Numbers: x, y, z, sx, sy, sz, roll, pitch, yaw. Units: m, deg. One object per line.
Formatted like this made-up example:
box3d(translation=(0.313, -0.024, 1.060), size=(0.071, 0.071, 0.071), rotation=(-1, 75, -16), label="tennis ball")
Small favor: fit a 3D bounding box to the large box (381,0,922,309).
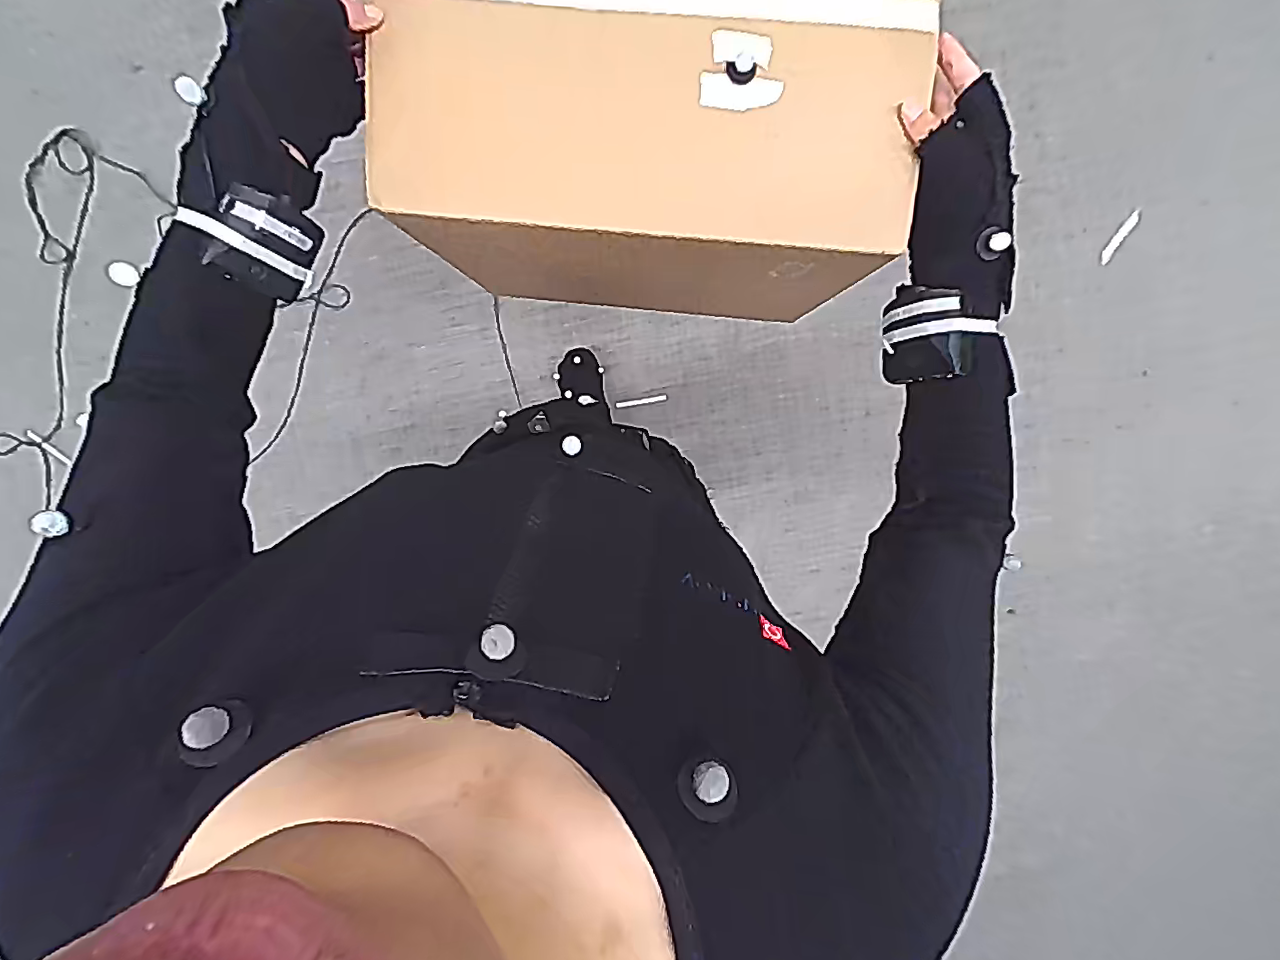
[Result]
box3d(translation=(0.008, -0.368, 0.546), size=(0.408, 0.320, 0.320), rotation=(4, 98, 0), label="large box")
